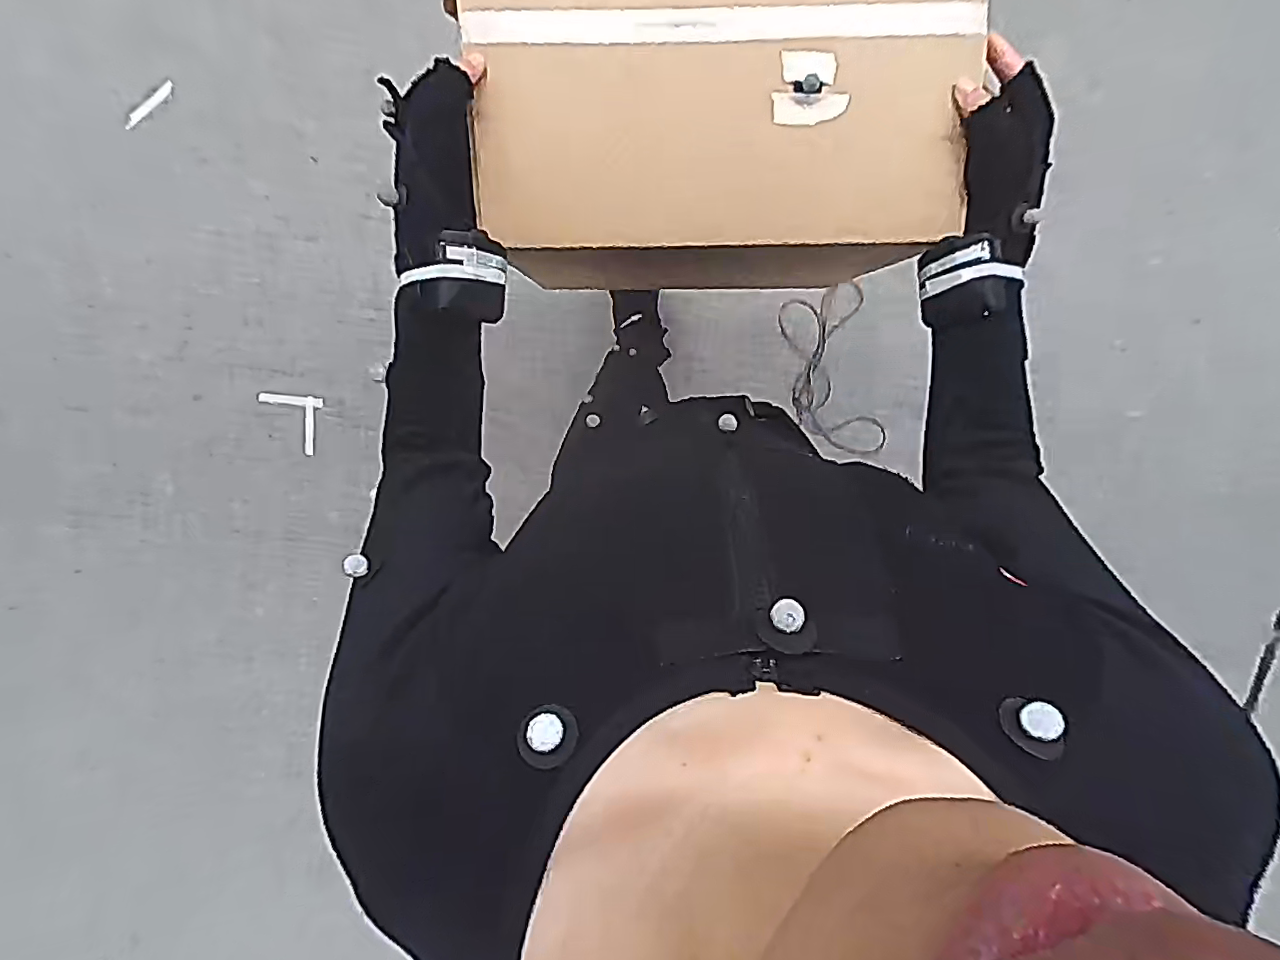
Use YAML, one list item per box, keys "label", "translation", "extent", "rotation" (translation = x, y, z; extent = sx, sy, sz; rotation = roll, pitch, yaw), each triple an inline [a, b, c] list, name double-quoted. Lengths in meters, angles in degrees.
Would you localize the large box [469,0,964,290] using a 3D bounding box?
- label: "large box"
  translation: [0.059, -0.391, 0.583]
  extent: [0.408, 0.320, 0.320]
  rotation: [-1, 103, -1]
